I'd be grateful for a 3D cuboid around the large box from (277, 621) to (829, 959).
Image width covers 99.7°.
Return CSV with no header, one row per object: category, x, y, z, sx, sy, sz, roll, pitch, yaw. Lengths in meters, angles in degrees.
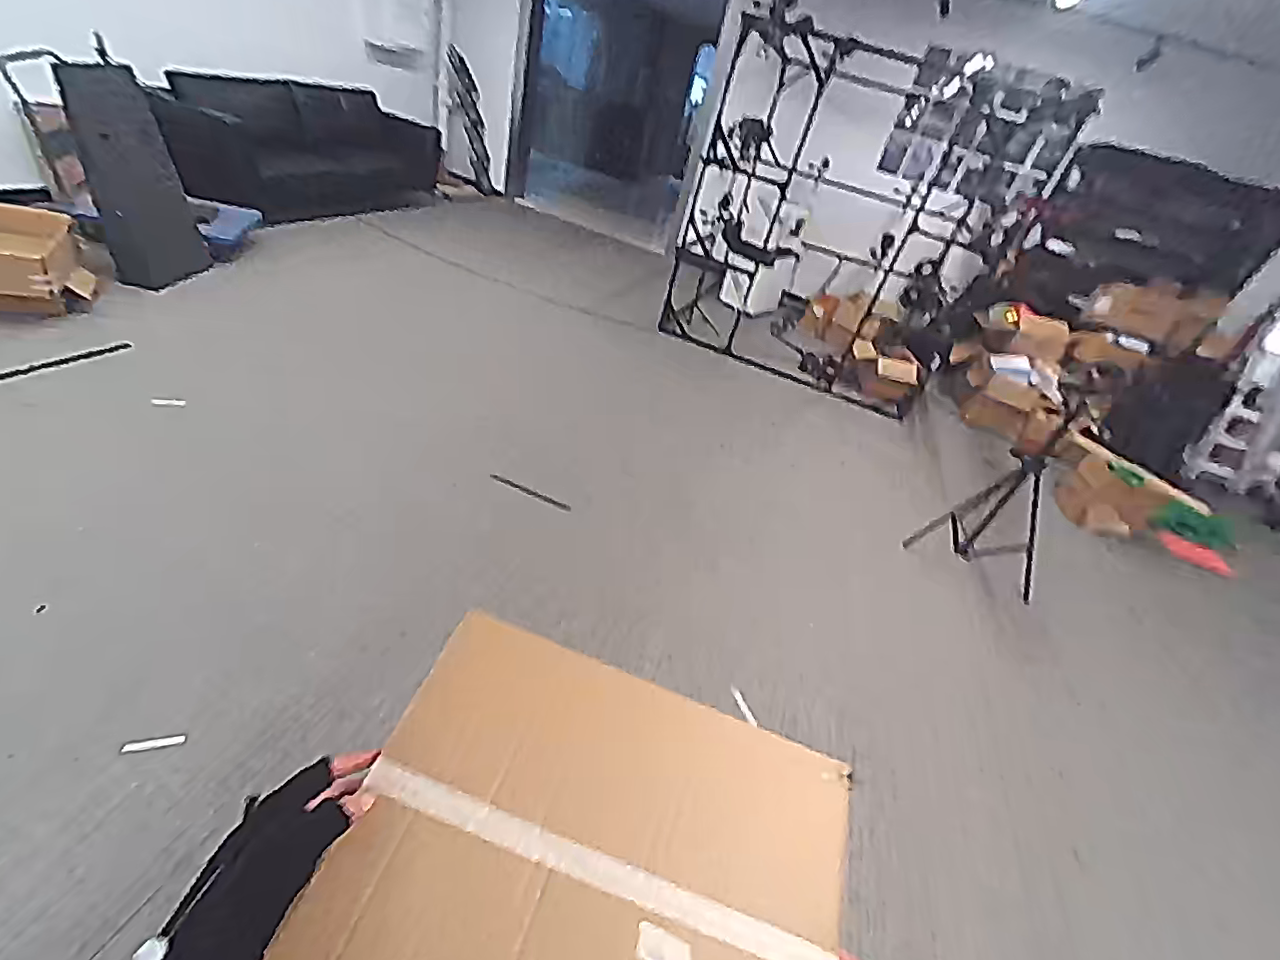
large box,-0.068,0.410,0.572,0.408,0.320,0.320,21,51,3
